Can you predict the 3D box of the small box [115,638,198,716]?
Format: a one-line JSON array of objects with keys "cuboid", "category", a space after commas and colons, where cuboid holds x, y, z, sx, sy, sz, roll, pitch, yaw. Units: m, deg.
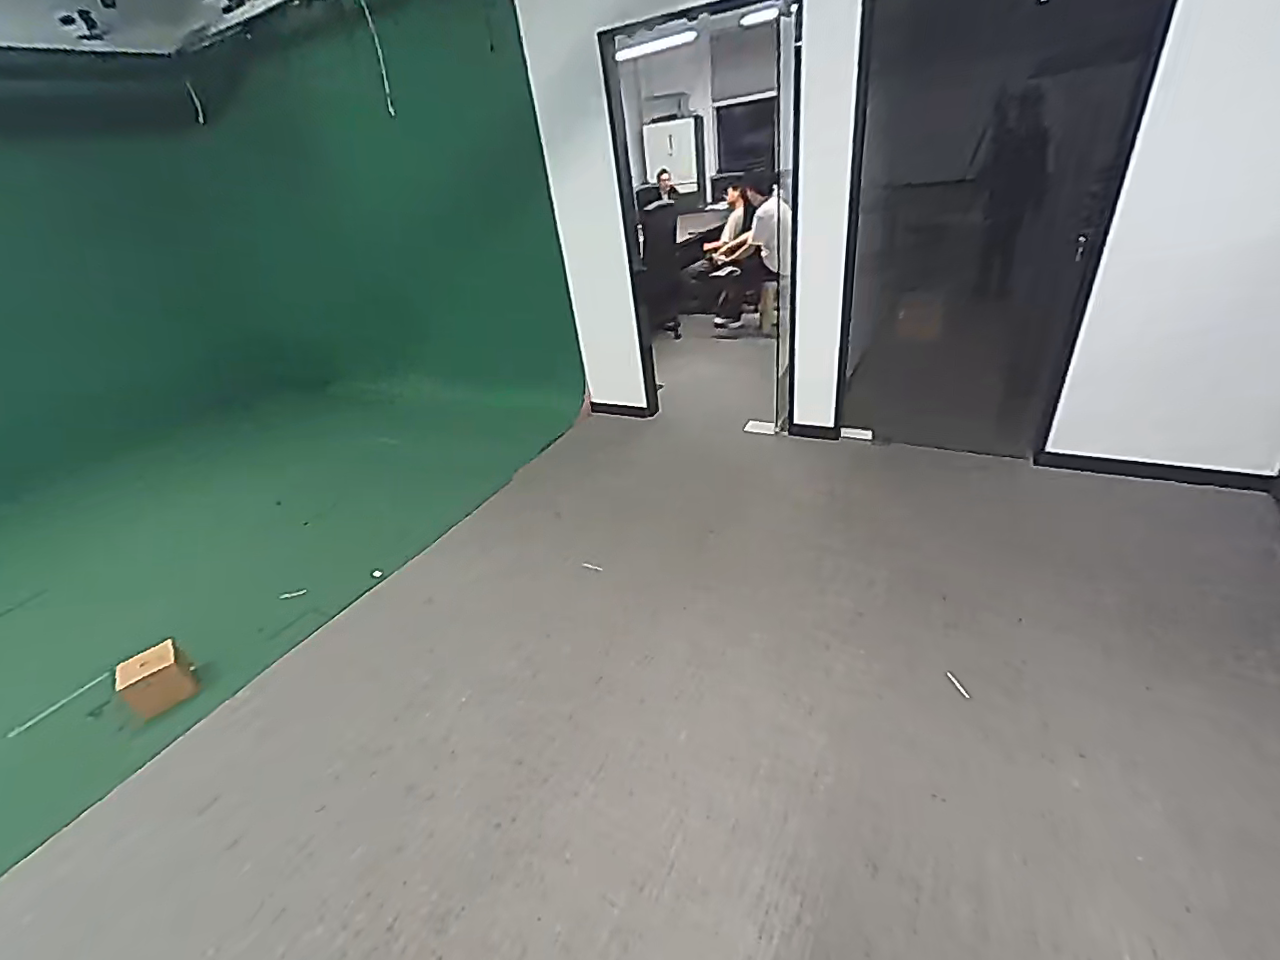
[{"cuboid": [-1.796, 0.733, 2.011, 0.179, 0.176, 0.168, -28, 37, -32], "category": "small box"}]
